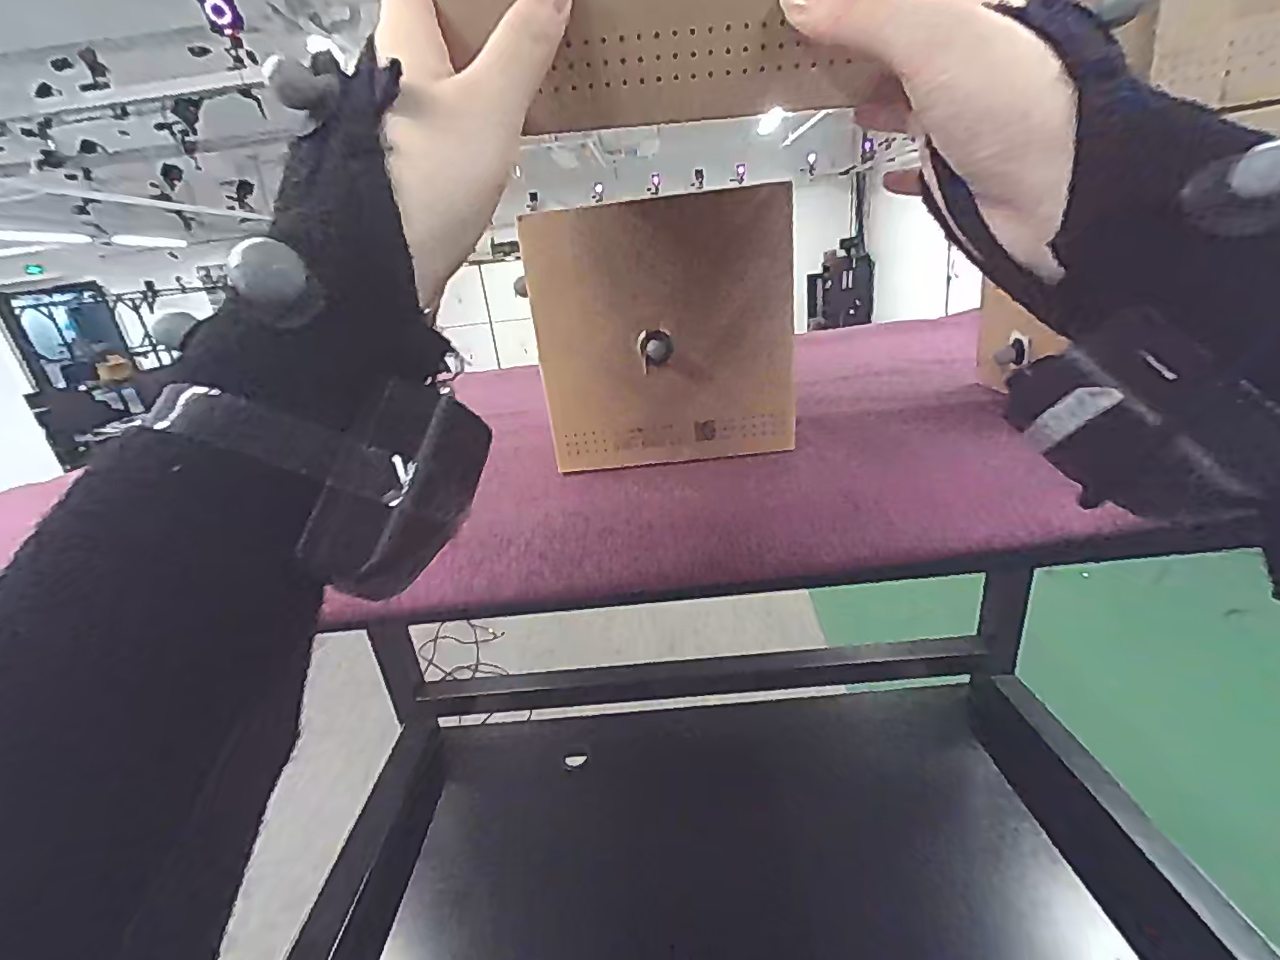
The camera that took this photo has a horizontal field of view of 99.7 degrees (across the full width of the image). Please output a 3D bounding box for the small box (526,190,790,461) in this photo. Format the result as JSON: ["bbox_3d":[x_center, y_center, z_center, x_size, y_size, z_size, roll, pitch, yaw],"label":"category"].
[{"bbox_3d":[0.021,-0.116,0.430,0.168,0.176,0.179,-5,21,3],"label":"small box"}]

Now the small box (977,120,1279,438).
[{"bbox_3d":[0.366,-0.135,0.378,0.179,0.176,0.168,-6,18,8],"label":"small box"}]

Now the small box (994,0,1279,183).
[{"bbox_3d":[0.344,-0.290,0.331,0.179,0.176,0.168,-3,19,11],"label":"small box"}]
